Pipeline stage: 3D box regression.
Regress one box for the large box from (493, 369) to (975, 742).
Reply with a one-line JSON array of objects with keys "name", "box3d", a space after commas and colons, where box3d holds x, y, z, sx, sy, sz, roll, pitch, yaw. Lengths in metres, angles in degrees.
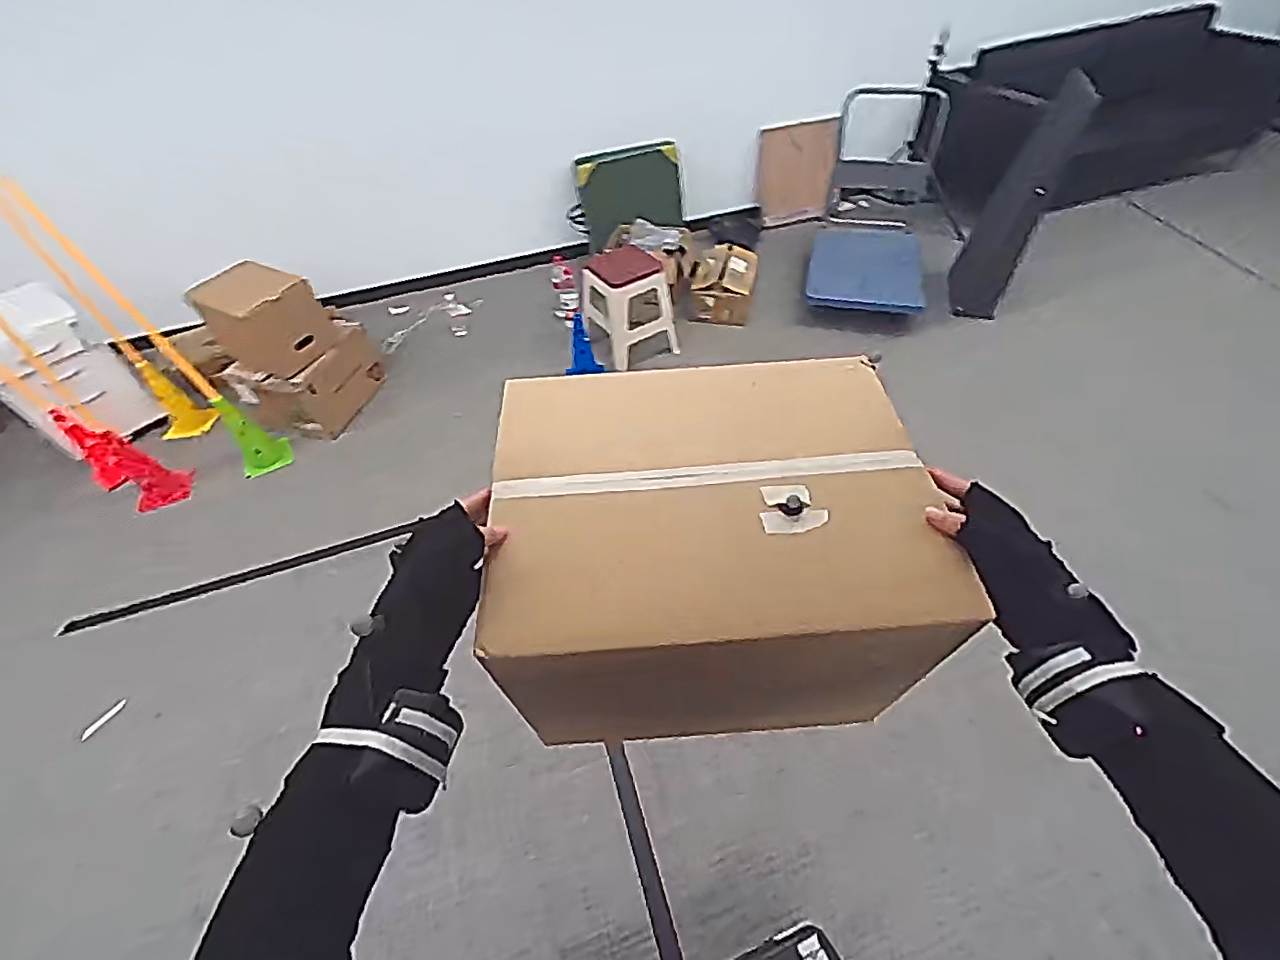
[{"name": "large box", "box3d": [0.070, 0.097, 0.642, 0.408, 0.320, 0.320, -4, 53, -1]}]
